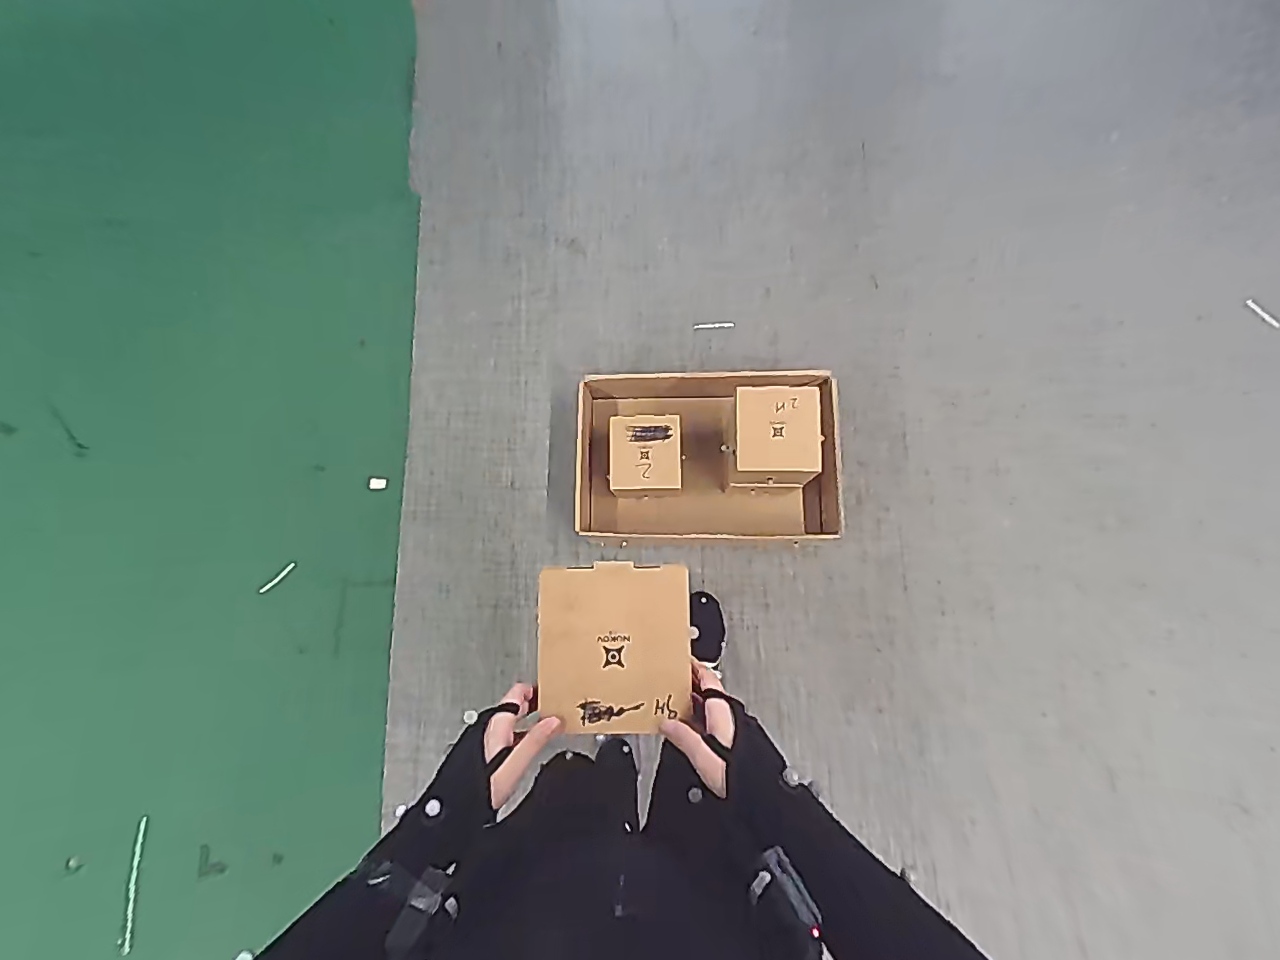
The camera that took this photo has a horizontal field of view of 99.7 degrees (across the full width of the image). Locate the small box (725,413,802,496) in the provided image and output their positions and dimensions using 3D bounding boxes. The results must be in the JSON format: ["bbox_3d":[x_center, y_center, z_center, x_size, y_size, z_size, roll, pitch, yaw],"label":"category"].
[{"bbox_3d":[0.296,-0.057,1.310,0.168,0.176,0.179,1,80,6],"label":"small box"}]

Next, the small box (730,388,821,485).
[{"bbox_3d":[0.282,-0.087,1.148,0.168,0.176,0.179,1,80,5],"label":"small box"}]

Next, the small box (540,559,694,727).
[{"bbox_3d":[-0.023,0.189,0.662,0.168,0.176,0.179,-1,80,2],"label":"small box"}]
